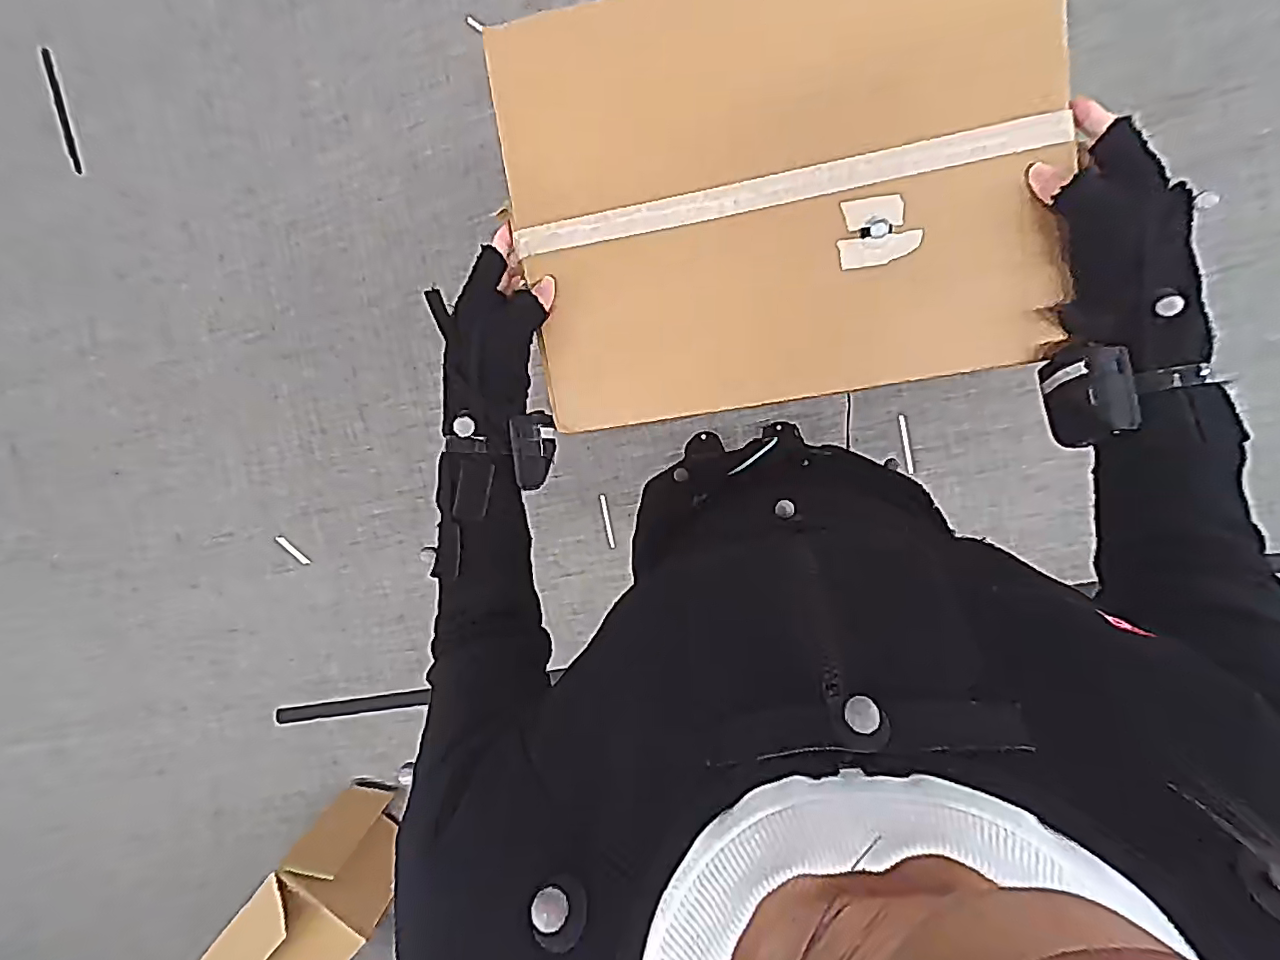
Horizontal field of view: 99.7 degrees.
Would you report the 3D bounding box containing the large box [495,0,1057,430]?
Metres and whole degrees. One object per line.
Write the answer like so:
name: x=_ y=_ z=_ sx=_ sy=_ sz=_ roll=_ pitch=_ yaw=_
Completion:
large box: x=0.117 y=-0.244 z=0.568 sx=0.408 sy=0.320 sz=0.320 roll=-8 pitch=99 yaw=8
